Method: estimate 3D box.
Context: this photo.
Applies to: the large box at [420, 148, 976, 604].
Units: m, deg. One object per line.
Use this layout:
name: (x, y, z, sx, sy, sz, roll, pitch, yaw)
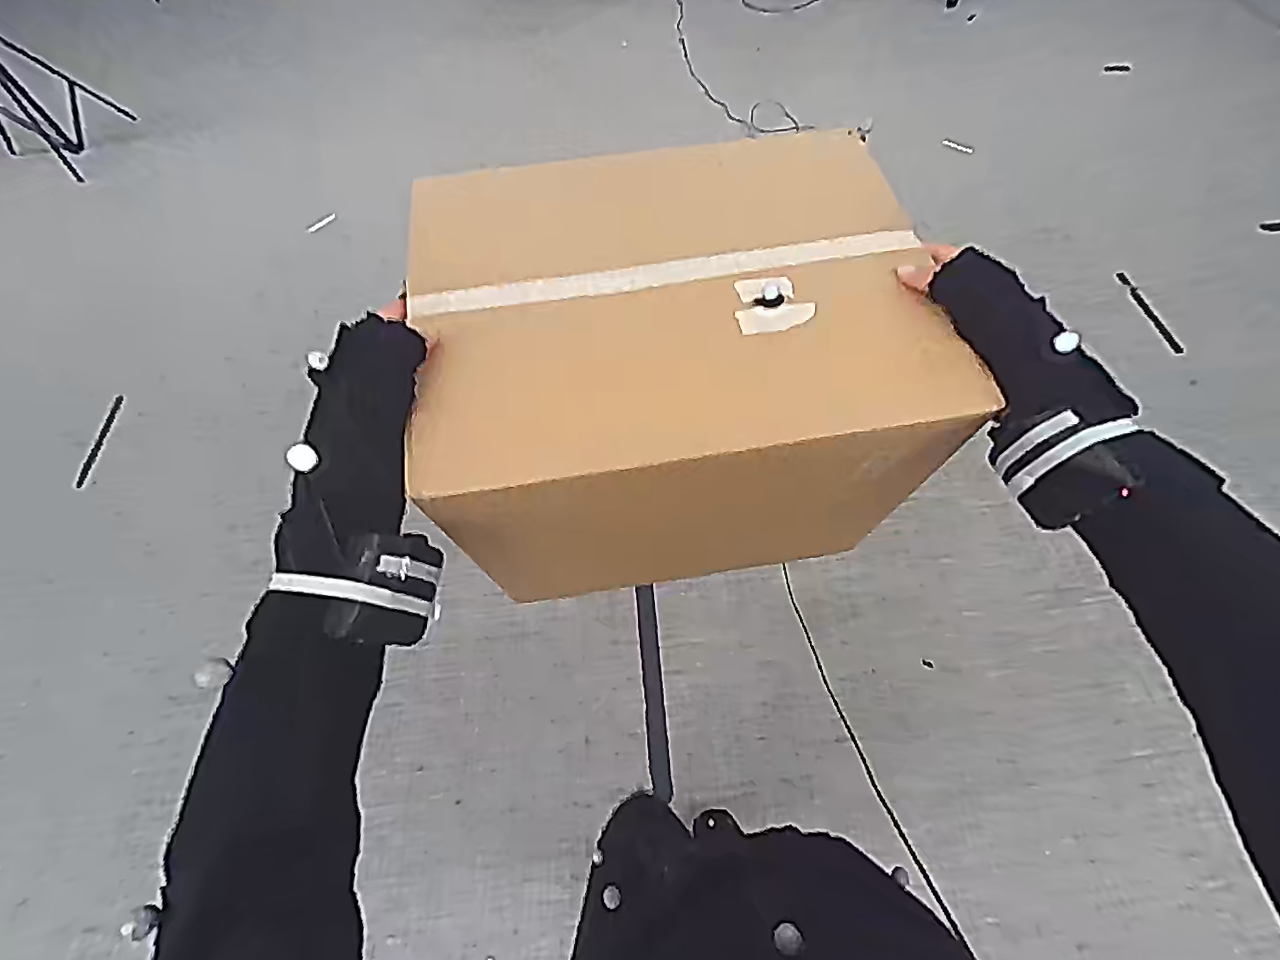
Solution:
large box: (0.023, -0.086, 0.571, 0.408, 0.320, 0.320, -9, 65, -3)
